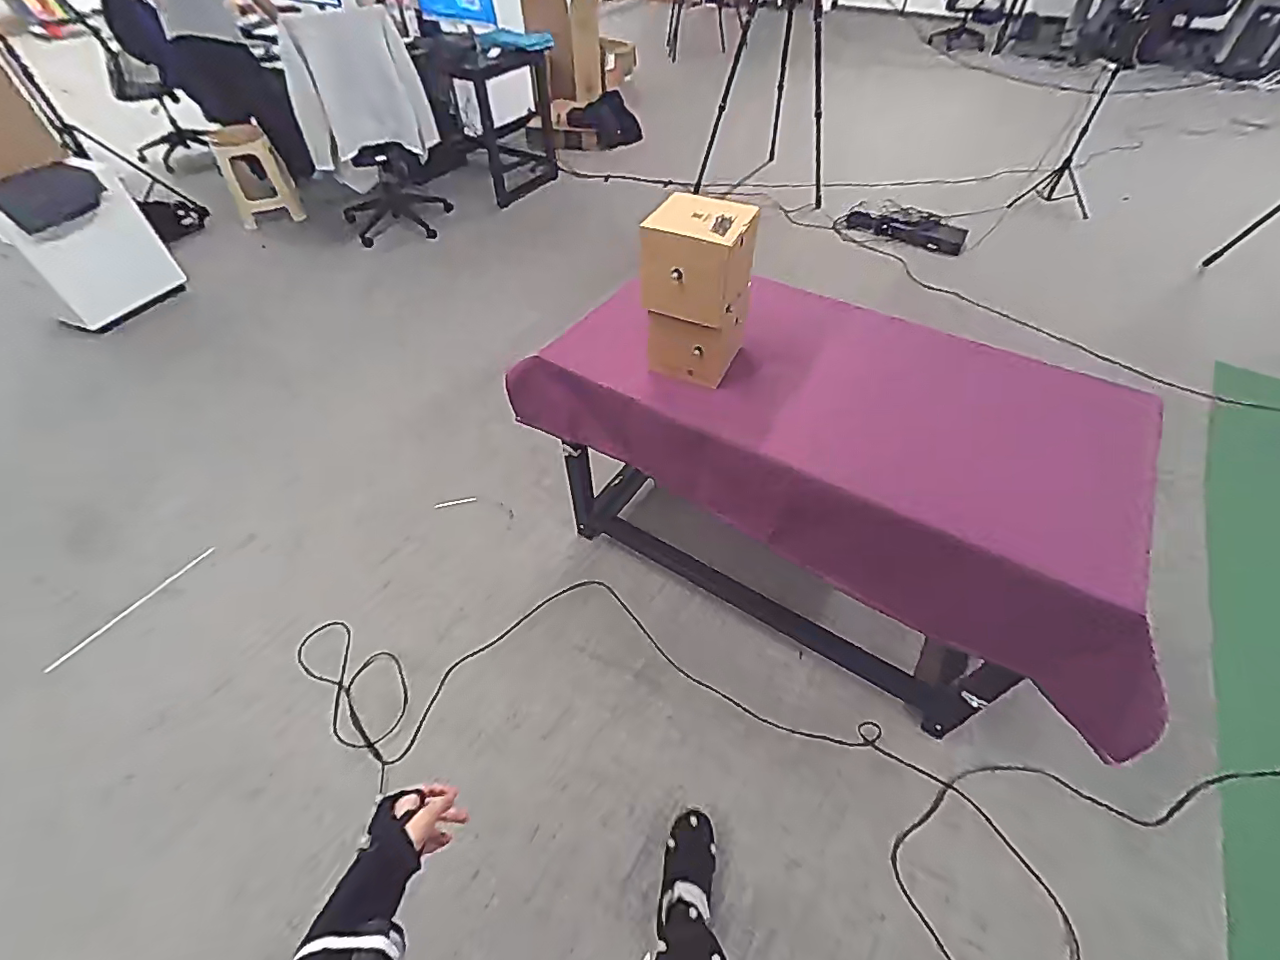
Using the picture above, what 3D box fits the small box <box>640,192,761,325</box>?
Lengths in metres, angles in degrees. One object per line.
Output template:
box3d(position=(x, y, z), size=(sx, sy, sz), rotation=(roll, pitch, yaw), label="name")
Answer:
box3d(position=(0.113, -0.423, 1.041), size=(0.179, 0.176, 0.168), rotation=(21, 53, 17), label="small box")

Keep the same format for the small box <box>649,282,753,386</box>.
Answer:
box3d(position=(0.130, -0.332, 1.179), size=(0.168, 0.176, 0.179), rotation=(21, 52, 17), label="small box")
